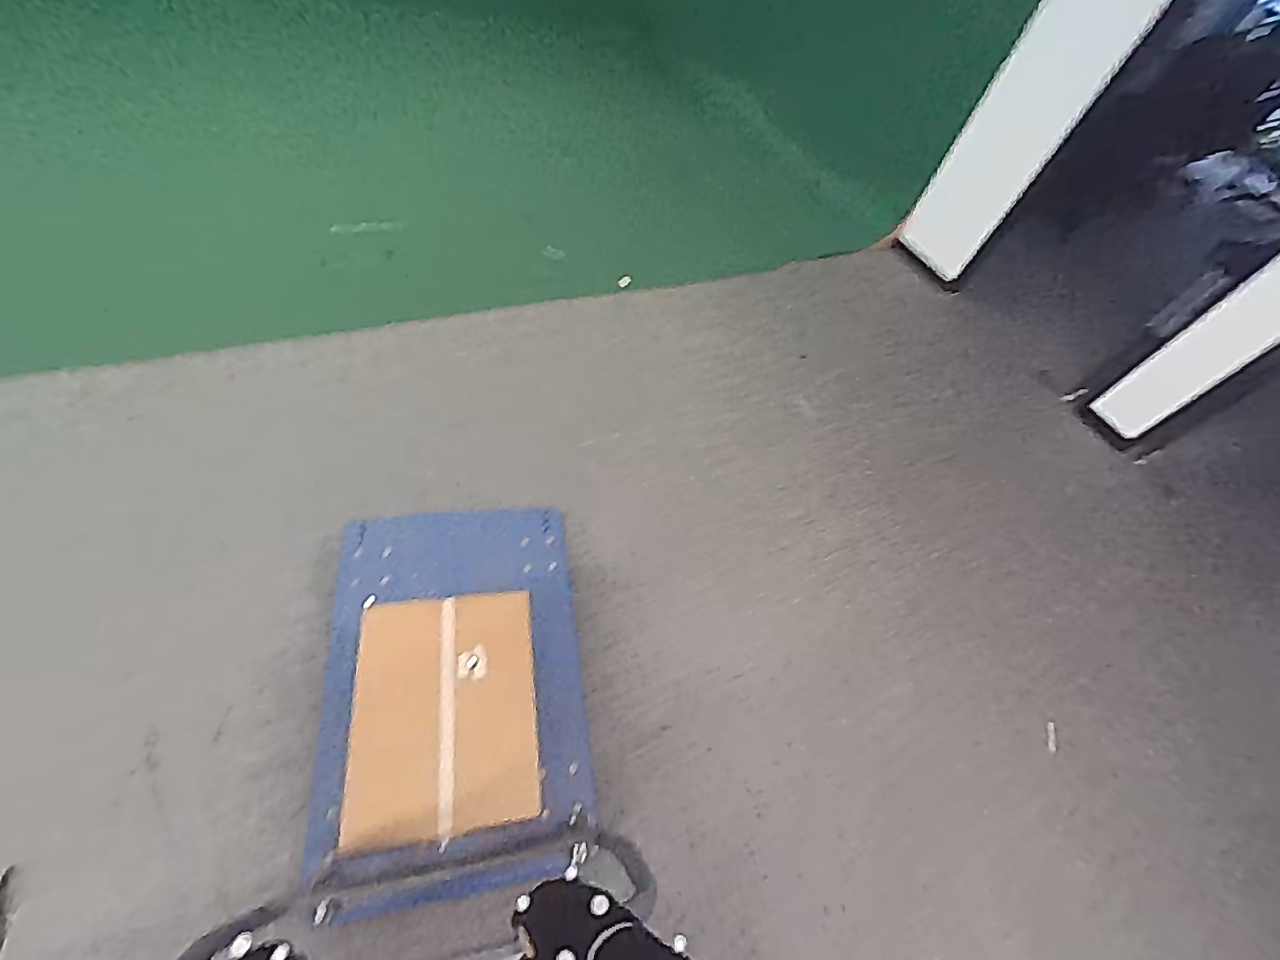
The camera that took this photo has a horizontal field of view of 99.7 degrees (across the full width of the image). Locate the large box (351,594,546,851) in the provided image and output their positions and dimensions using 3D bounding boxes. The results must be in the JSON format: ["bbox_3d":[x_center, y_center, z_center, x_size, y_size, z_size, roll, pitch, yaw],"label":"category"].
[{"bbox_3d":[-0.373,0.493,1.113,0.320,0.320,0.408,-2,56,-15],"label":"large box"}]
